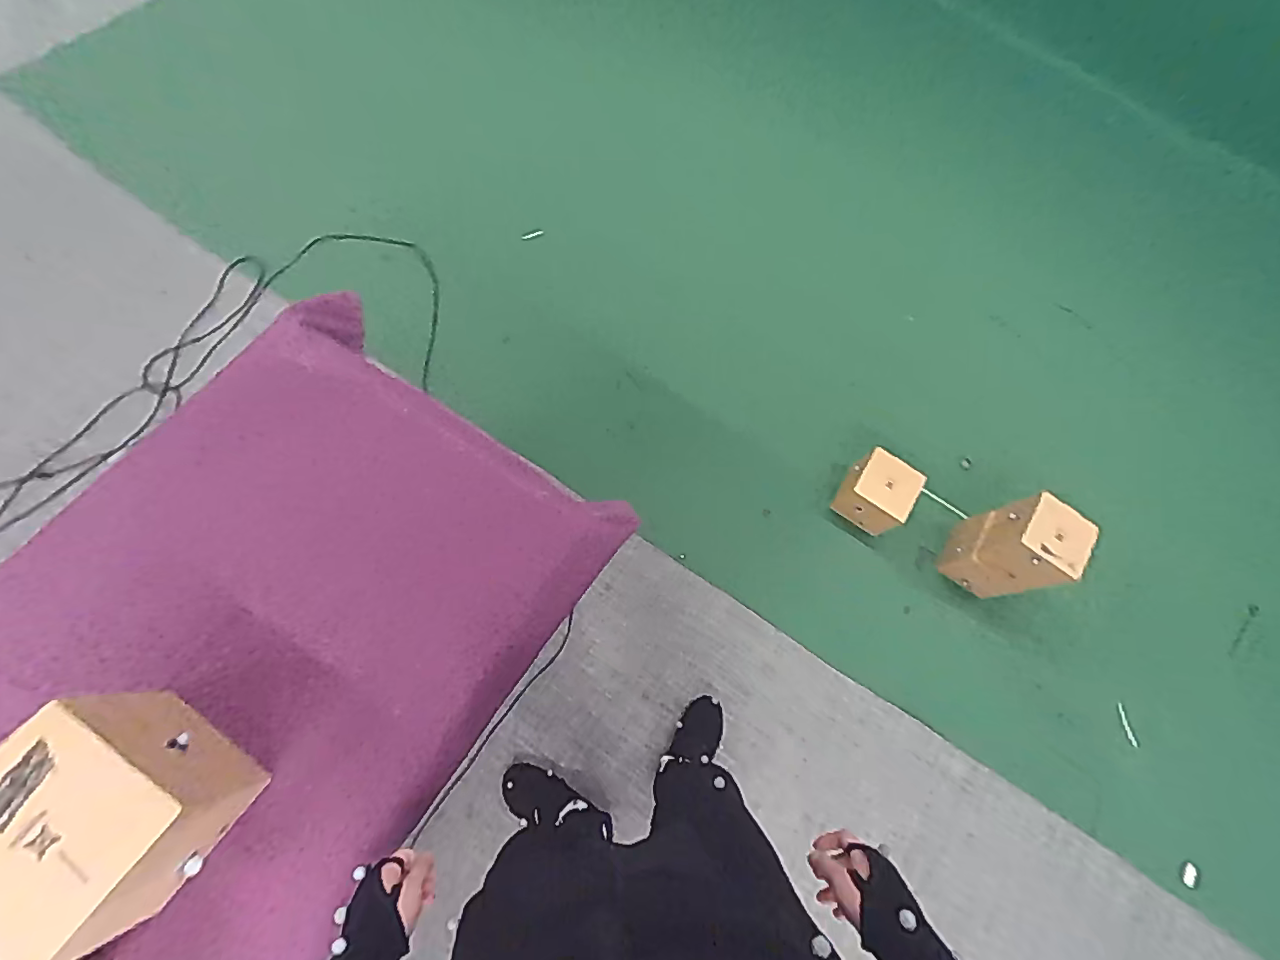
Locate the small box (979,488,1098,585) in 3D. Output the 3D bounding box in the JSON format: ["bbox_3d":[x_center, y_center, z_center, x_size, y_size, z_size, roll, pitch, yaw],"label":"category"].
[{"bbox_3d":[1.051,0.155,1.439,0.168,0.176,0.179,37,70,6],"label":"small box"}]

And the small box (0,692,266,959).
[{"bbox_3d":[-0.556,0.346,0.569,0.179,0.176,0.168,35,70,5],"label":"small box"}]

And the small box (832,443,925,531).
[{"bbox_3d":[0.704,0.029,1.617,0.168,0.176,0.179,33,69,6],"label":"small box"}]
